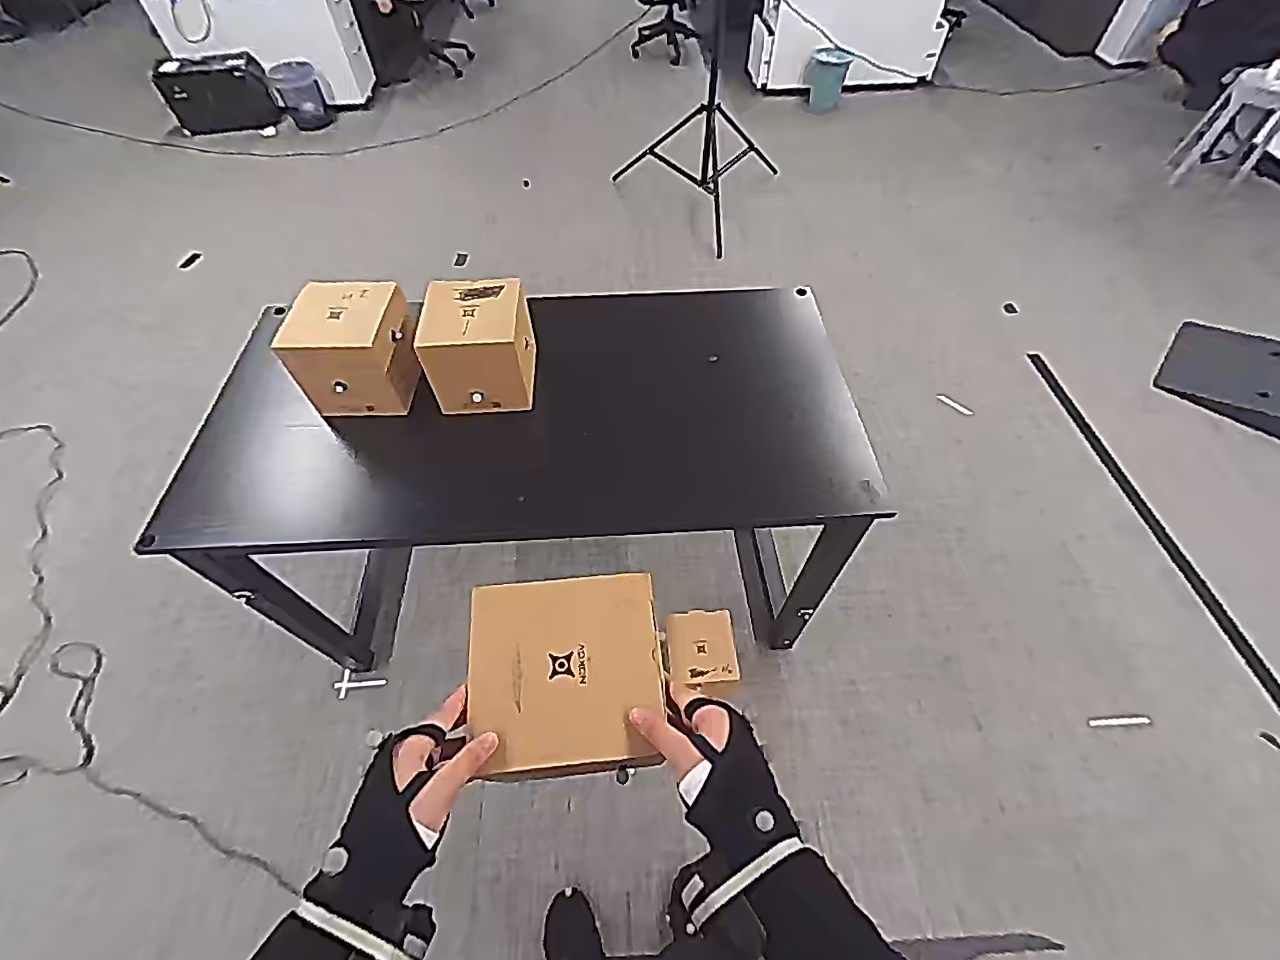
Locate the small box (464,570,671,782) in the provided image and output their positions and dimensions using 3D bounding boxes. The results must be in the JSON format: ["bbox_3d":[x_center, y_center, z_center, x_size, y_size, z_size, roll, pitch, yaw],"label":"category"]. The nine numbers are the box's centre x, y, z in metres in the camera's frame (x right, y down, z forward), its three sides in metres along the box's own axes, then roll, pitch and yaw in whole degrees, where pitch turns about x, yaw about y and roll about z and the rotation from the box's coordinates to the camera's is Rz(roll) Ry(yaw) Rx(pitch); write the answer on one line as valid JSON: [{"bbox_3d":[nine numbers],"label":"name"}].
[{"bbox_3d":[-0.070,0.208,0.560,0.179,0.176,0.168,-6,58,-4],"label":"small box"}]

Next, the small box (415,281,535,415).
[{"bbox_3d":[-0.291,-0.240,0.993,0.168,0.176,0.179,-3,55,-2],"label":"small box"}]

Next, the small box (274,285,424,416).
[{"bbox_3d":[-0.515,-0.232,0.990,0.168,0.176,0.179,0,54,0],"label":"small box"}]

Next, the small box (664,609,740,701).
[{"bbox_3d":[0.151,0.451,1.387,0.168,0.176,0.179,-4,54,-1],"label":"small box"}]
